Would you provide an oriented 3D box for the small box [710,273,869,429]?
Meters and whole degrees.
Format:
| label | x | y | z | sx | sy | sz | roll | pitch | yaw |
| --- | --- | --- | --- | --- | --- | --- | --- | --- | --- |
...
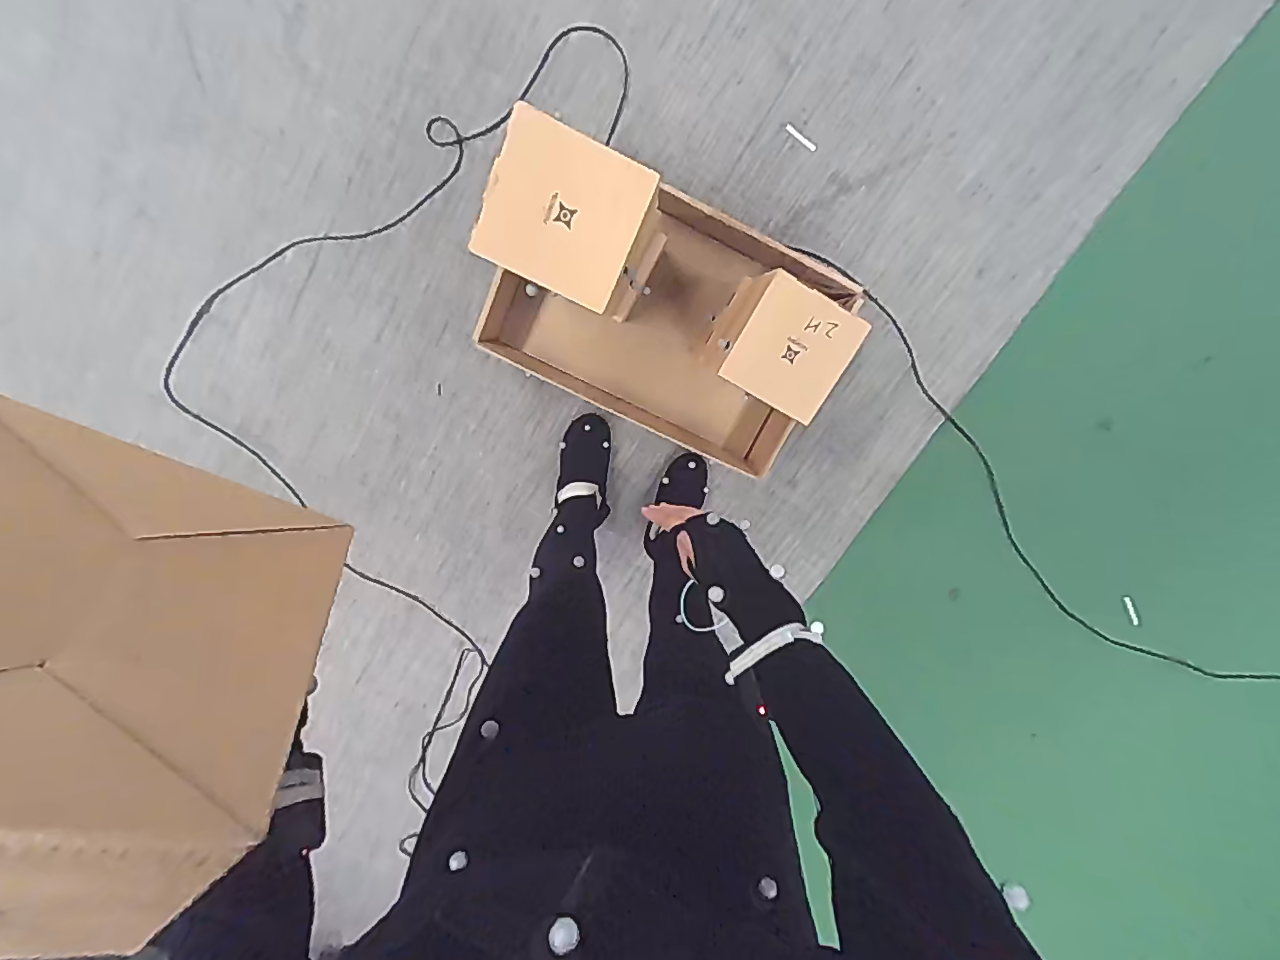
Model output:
| label | x | y | z | sx | sy | sz | roll | pitch | yaw |
| --- | --- | --- | --- | --- | --- | --- | --- | --- | --- |
| small box | 0.228 | -0.209 | 0.883 | 0.168 | 0.176 | 0.179 | 29 | 103 | -8 |

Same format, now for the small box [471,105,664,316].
| label | x | y | z | sx | sy | sz | roll | pitch | yaw |
| --- | --- | --- | --- | --- | --- | --- | --- | --- | --- |
| small box | -0.081 | -0.325 | 0.689 | 0.179 | 0.176 | 0.168 | 25 | 106 | -5 |

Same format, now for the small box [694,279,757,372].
| label | x | y | z | sx | sy | sz | roll | pitch | yaw |
| --- | --- | --- | --- | --- | --- | --- | --- | --- | --- |
| small box | 0.217 | -0.260 | 1.040 | 0.179 | 0.176 | 0.168 | 29 | 104 | -7 |
